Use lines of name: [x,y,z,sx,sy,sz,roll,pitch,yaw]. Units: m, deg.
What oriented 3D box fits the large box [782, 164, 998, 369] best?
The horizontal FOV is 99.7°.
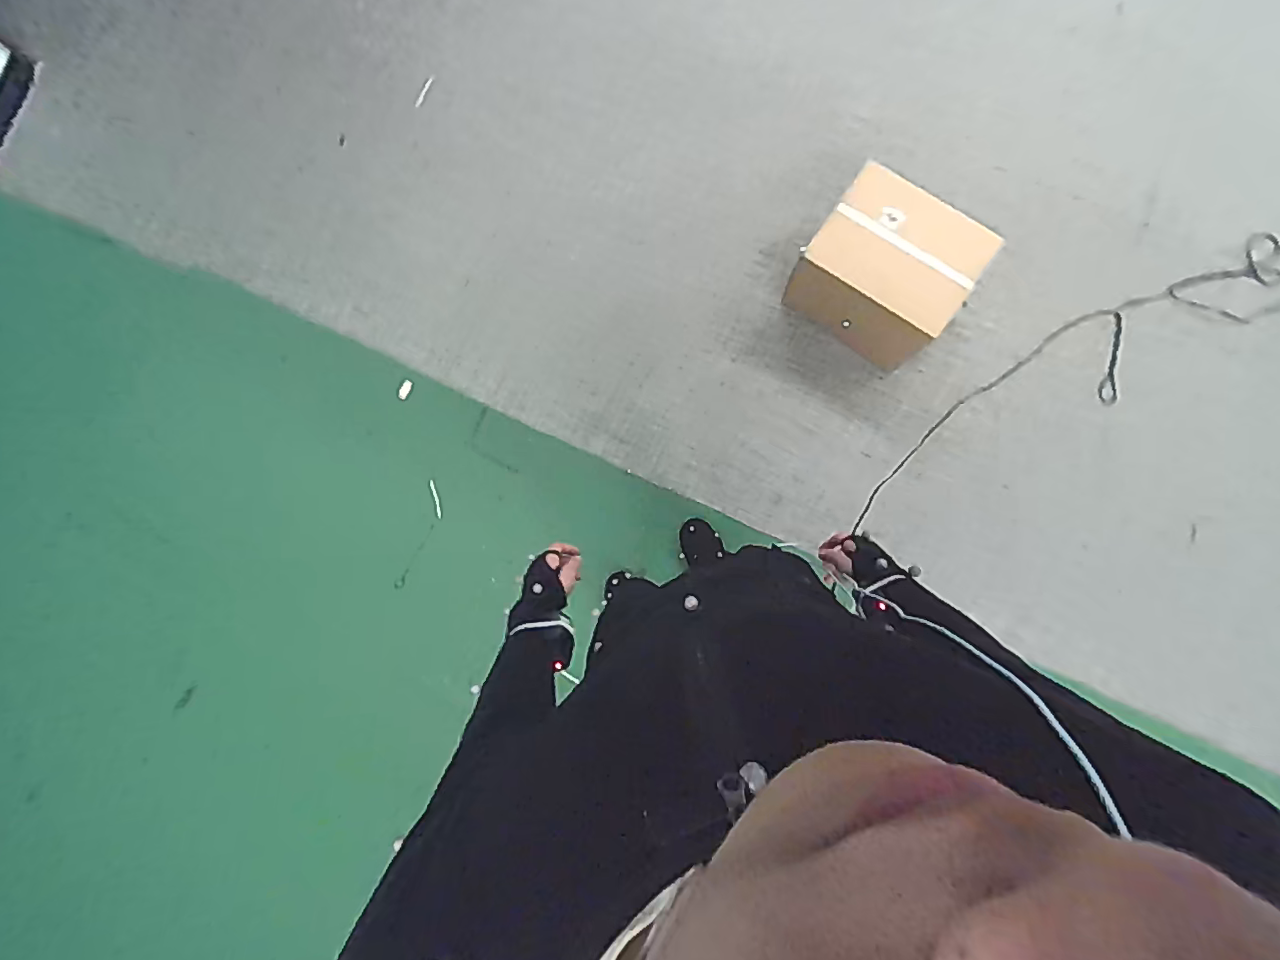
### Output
large box: [0.670,-0.577,1.524,0.408,0.320,0.320,35,88,8]
